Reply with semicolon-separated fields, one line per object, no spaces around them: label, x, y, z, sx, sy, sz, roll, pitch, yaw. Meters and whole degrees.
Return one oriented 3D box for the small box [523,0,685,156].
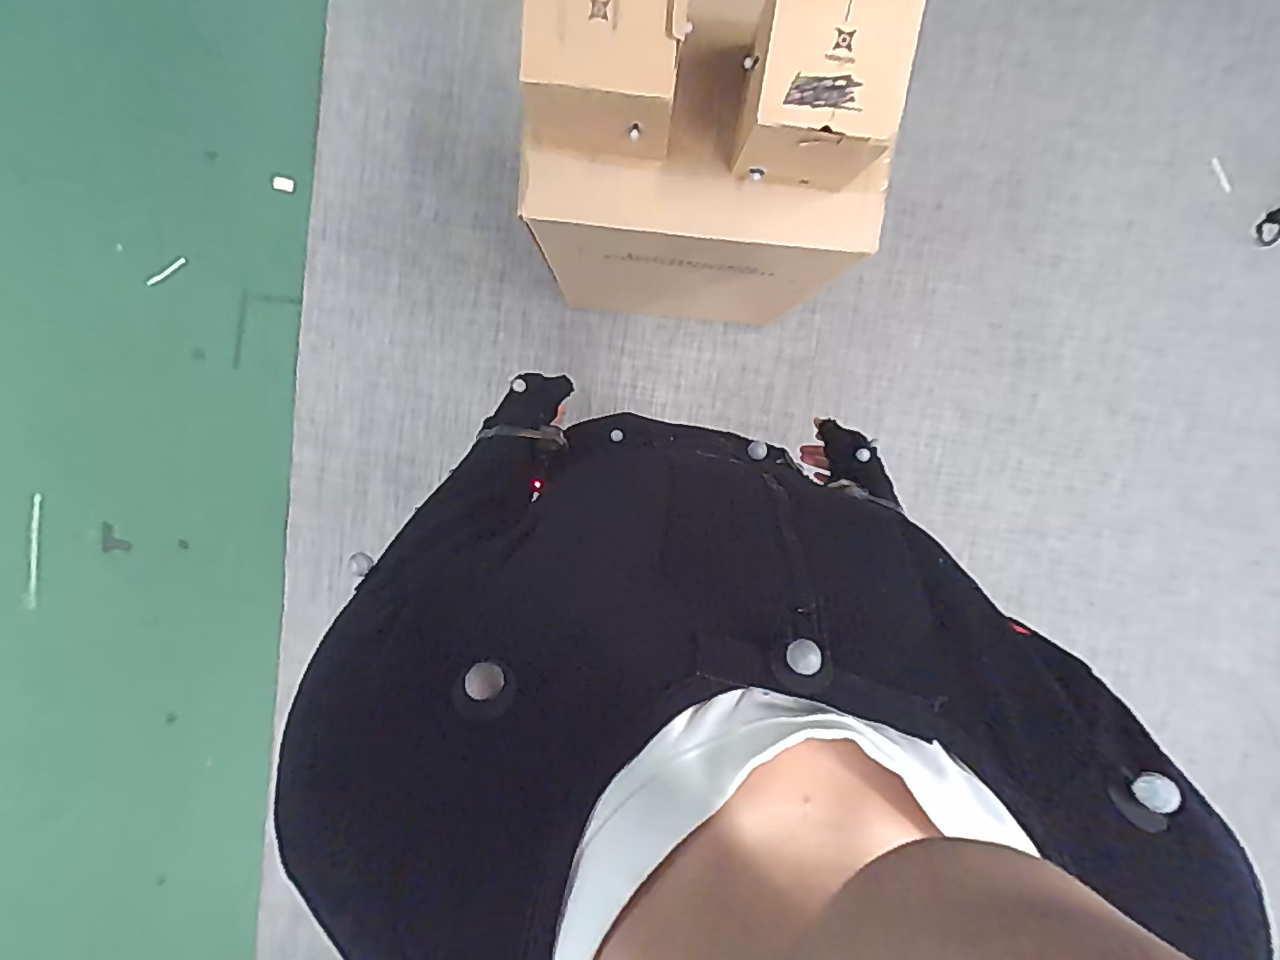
small box;-0.039;-0.533;0.680;0.179;0.176;0.168;5;99;0

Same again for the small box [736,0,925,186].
small box;0.225;-0.498;0.682;0.168;0.176;0.179;8;100;-2
